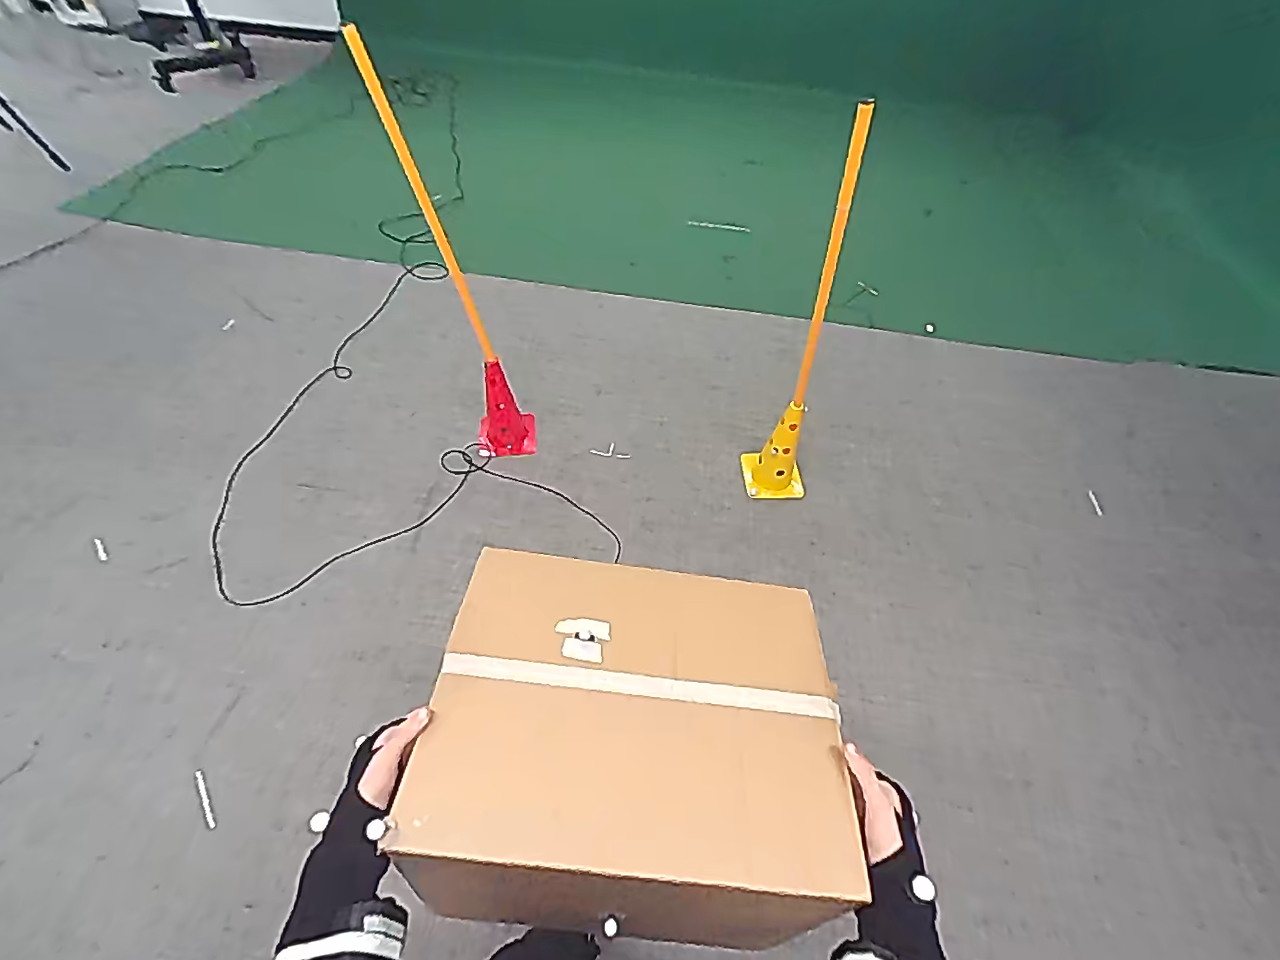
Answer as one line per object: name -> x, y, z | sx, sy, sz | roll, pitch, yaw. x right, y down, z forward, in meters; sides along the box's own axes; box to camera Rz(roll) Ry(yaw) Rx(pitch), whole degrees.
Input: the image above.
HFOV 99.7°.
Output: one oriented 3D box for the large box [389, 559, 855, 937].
large box -> -0.018, 0.330, 0.661 | 0.408, 0.320, 0.320 | 7, 42, -1
